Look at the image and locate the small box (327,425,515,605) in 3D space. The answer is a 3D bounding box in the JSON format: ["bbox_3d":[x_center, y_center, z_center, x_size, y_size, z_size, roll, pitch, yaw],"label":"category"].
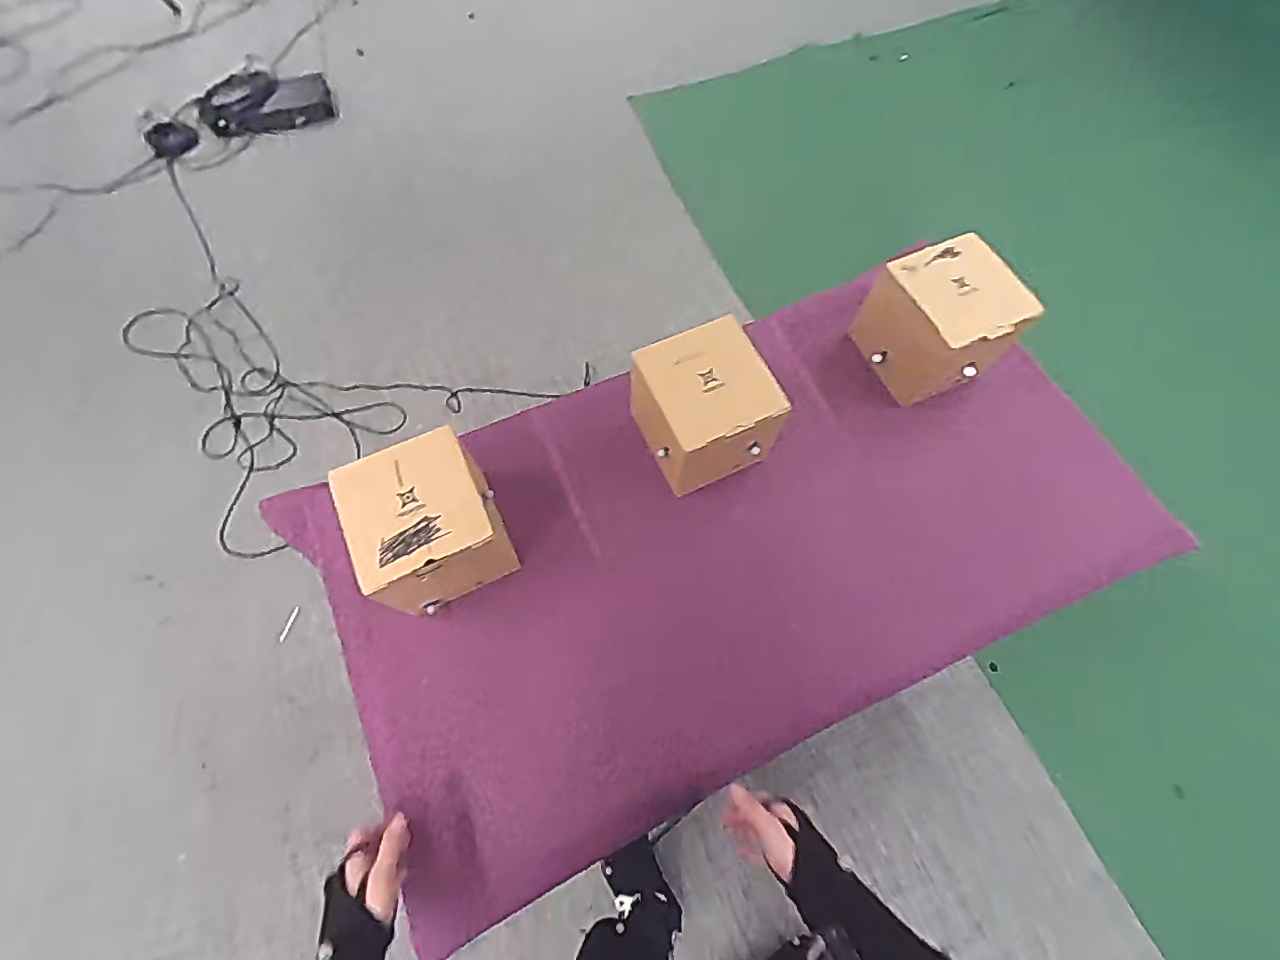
[{"bbox_3d":[-0.290,0.059,0.749,0.168,0.176,0.179,-25,69,-10],"label":"small box"}]

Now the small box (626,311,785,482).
[{"bbox_3d":[0.090,-0.114,0.820,0.168,0.176,0.179,-24,69,-10],"label":"small box"}]

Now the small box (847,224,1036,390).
[{"bbox_3d":[0.472,-0.268,0.878,0.168,0.176,0.179,-23,70,-9],"label":"small box"}]
